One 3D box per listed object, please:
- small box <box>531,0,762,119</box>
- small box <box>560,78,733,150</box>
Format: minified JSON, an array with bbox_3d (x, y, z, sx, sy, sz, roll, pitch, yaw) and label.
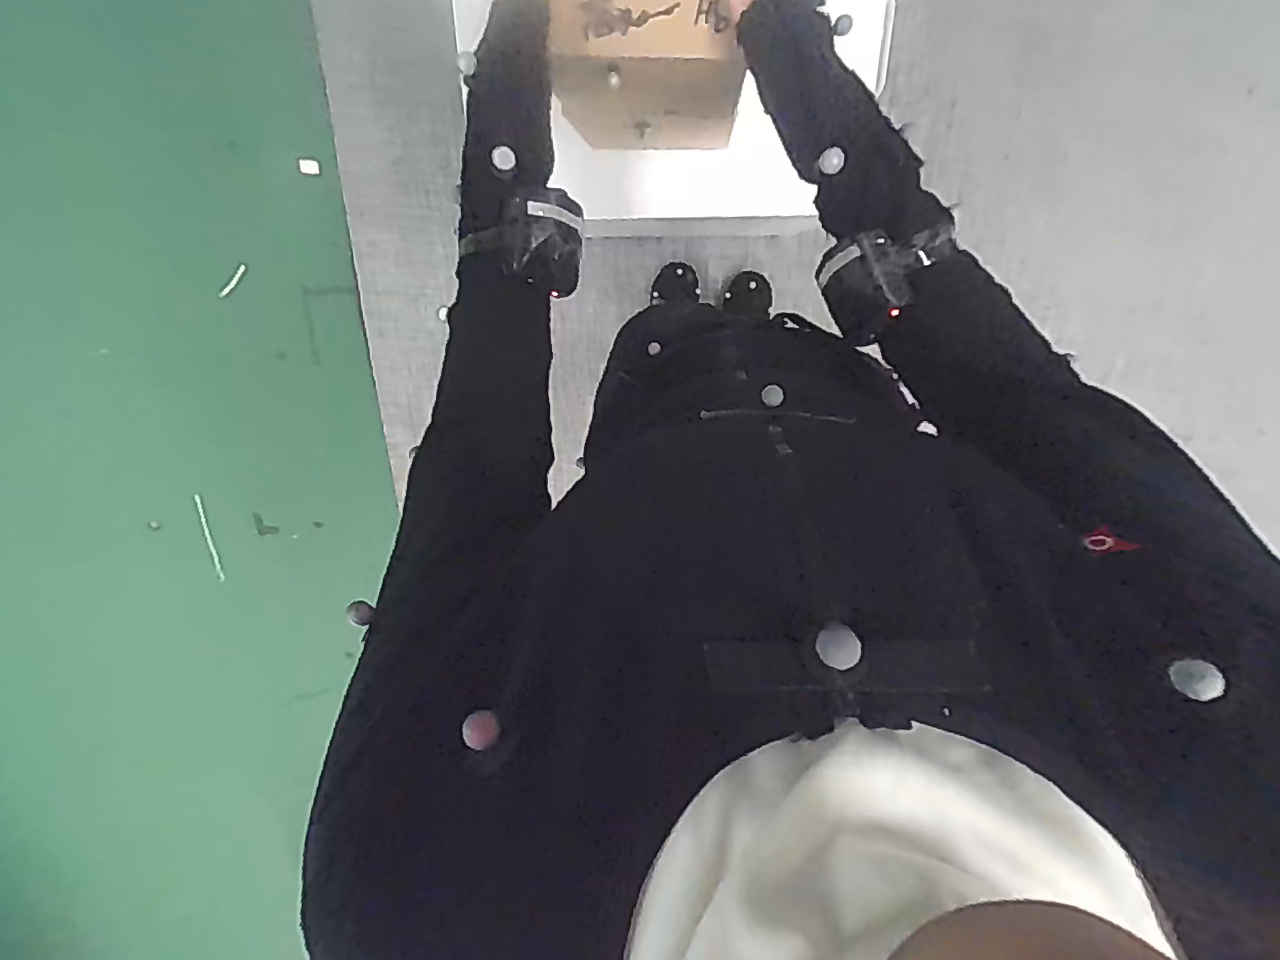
[{"bbox_3d":[0.009,-0.413,0.434,0.168,0.176,0.179,2,113,4],"label":"small box"},{"bbox_3d":[0.018,-0.468,0.585,0.179,0.176,0.168,4,111,5],"label":"small box"}]
